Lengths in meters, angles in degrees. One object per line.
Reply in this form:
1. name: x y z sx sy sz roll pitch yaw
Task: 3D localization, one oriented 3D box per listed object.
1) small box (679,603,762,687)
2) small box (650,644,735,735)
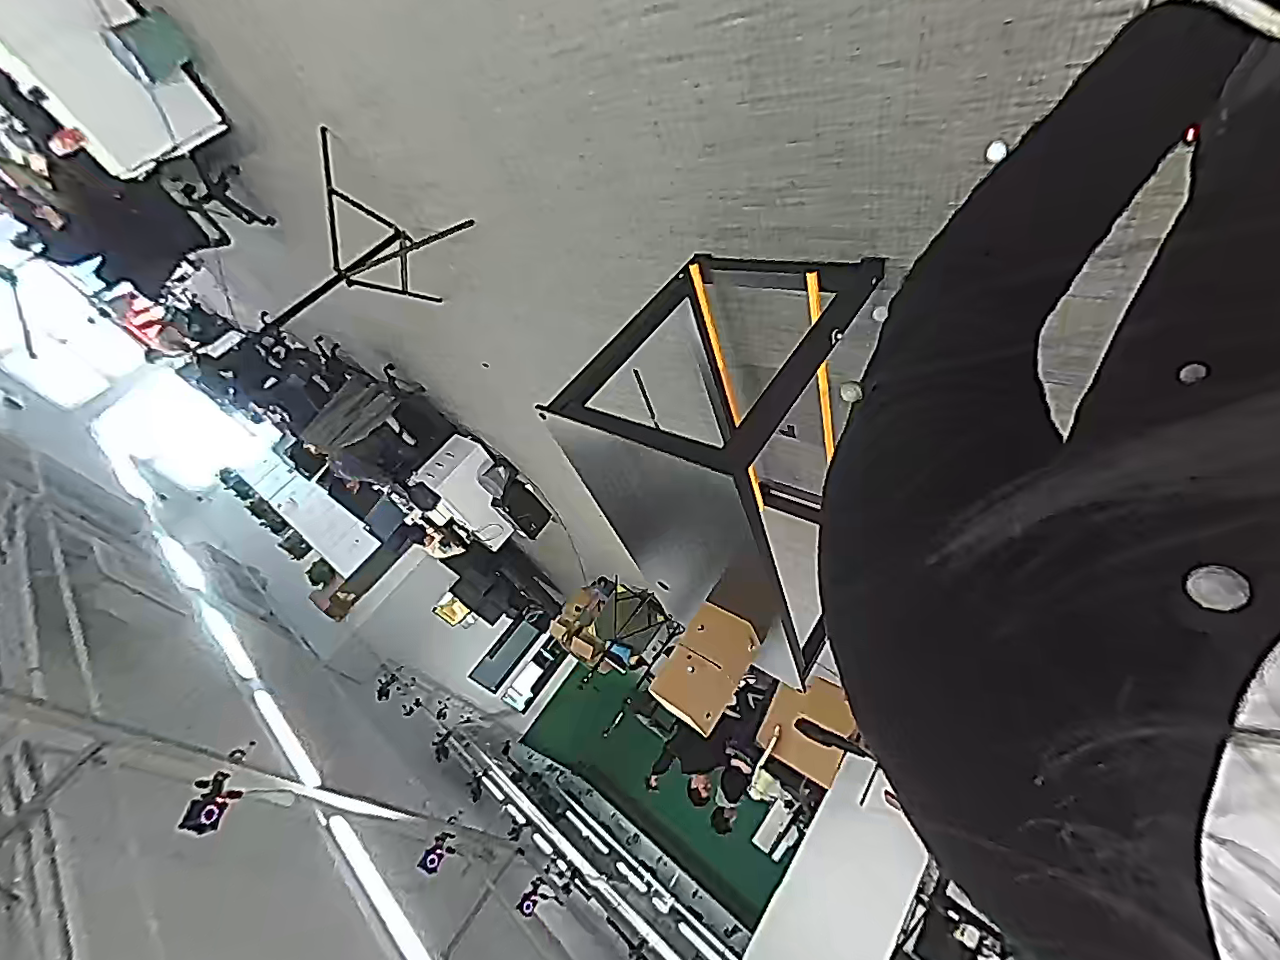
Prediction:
1. small box: 0.260 0.514 1.715 0.179 0.176 0.168 18 152 40
2. small box: 0.168 0.636 1.655 0.168 0.176 0.179 19 152 41
